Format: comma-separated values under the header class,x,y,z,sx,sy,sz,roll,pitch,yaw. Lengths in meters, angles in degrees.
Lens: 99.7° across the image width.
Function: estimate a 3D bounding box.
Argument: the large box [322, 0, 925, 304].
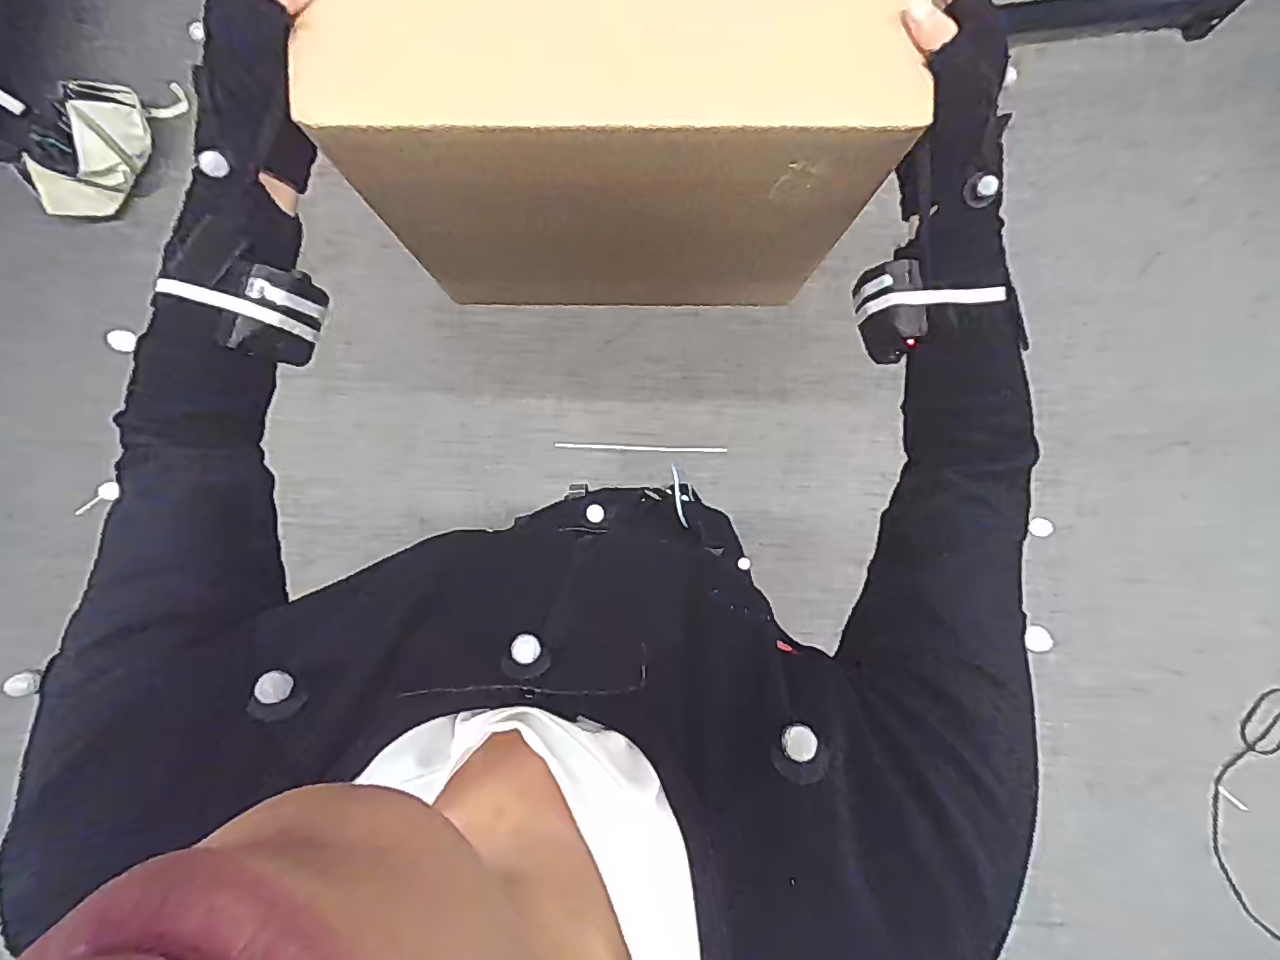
class,x,y,z,sx,sy,sz,roll,pitch,yaw
large box,-0.017,-0.374,0.511,0.408,0.320,0.320,-1,87,-2
